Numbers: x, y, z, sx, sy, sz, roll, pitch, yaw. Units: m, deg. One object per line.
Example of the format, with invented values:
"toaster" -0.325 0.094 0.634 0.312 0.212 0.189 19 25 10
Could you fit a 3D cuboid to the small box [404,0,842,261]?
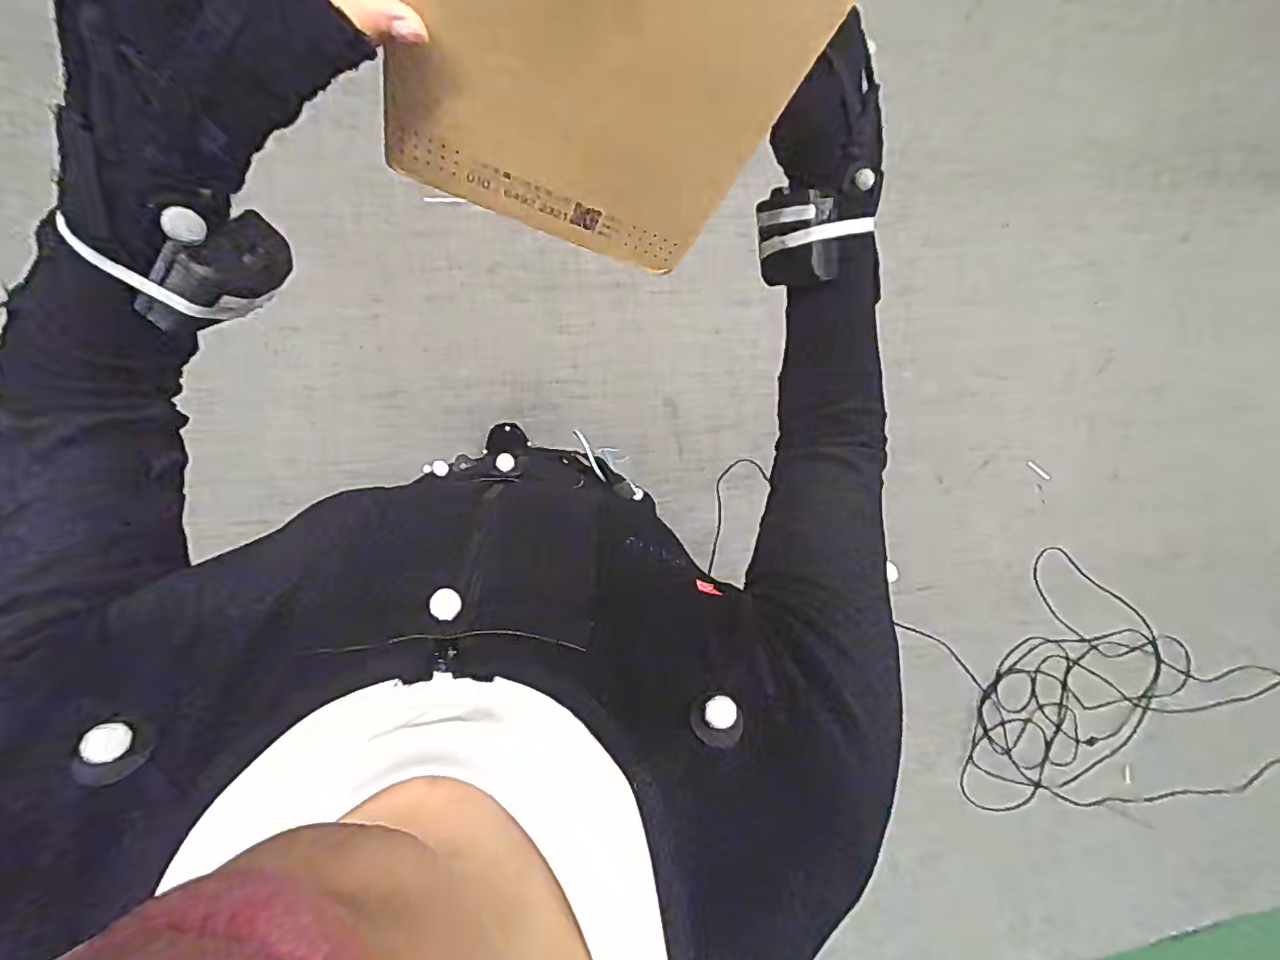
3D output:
"small box" -0.016 -0.257 0.280 0.168 0.176 0.179 15 64 -19
